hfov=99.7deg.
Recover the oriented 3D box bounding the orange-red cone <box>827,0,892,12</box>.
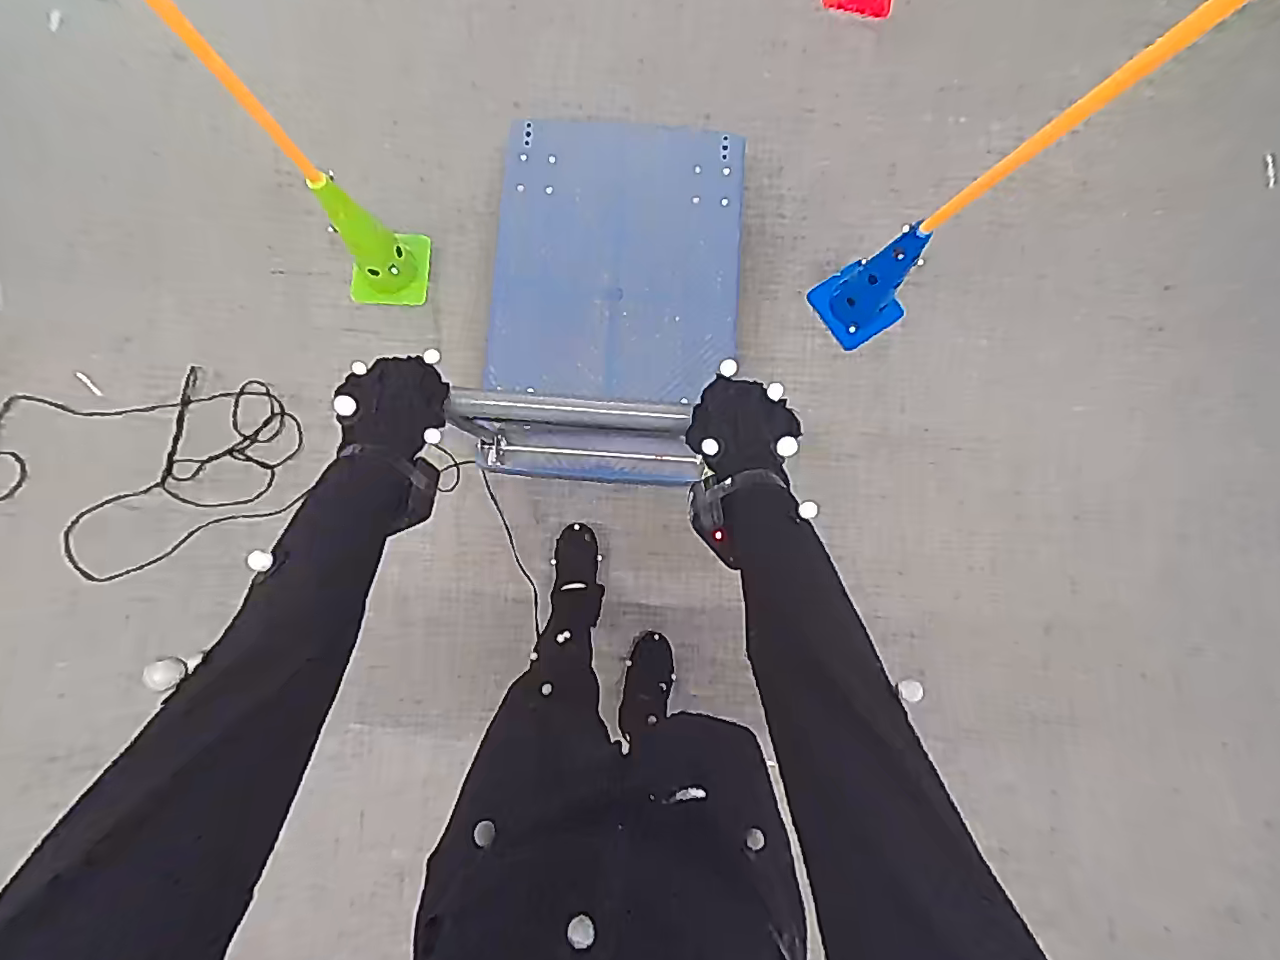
[{"bbox_3d":[0.637,-1.466,1.387,0.198,0.360,0.199,14,84,2],"label":"orange-red cone"}]
